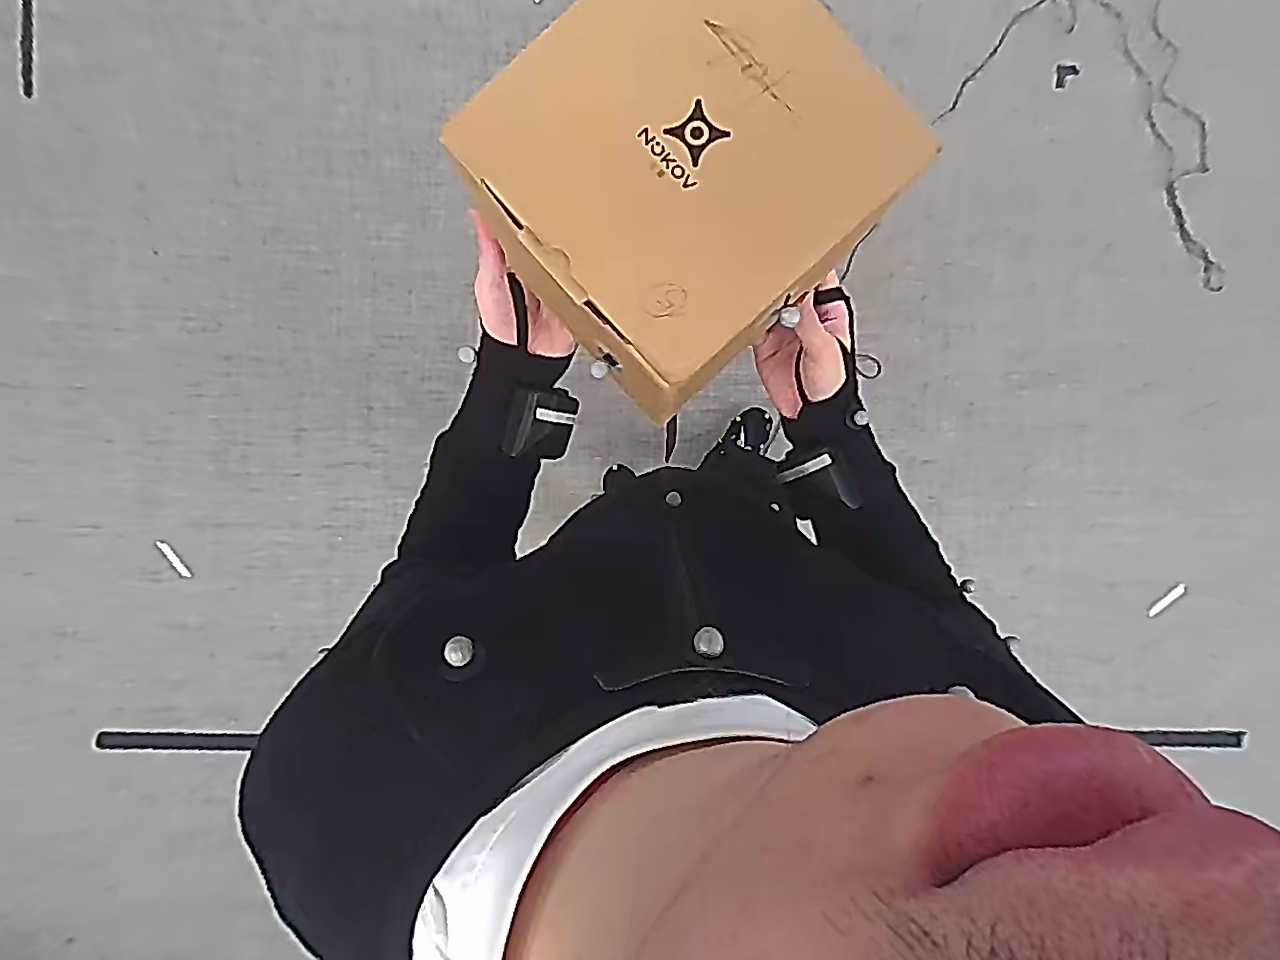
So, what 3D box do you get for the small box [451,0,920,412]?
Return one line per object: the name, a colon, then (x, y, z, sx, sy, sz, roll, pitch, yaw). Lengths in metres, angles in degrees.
small box: (0.022, -0.163, 0.344, 0.179, 0.176, 0.168, -44, 91, -1)
